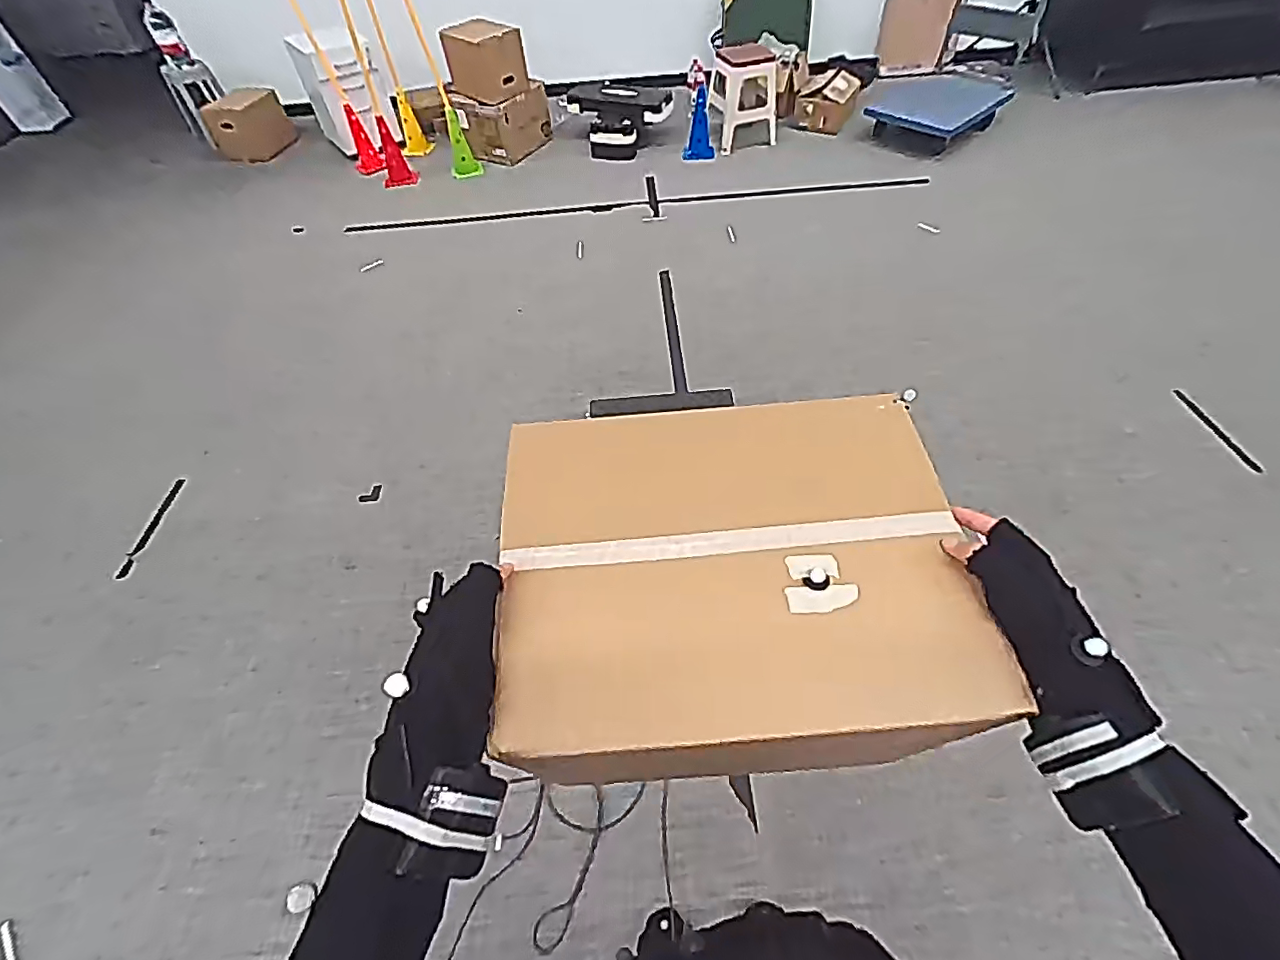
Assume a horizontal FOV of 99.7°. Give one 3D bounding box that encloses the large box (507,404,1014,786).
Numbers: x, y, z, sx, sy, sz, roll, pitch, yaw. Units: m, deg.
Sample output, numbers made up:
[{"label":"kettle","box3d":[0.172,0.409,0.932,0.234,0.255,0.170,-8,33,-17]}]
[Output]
[{"label":"large box","box3d":[0.087,0.145,0.619,0.408,0.320,0.320,-5,57,0]}]
